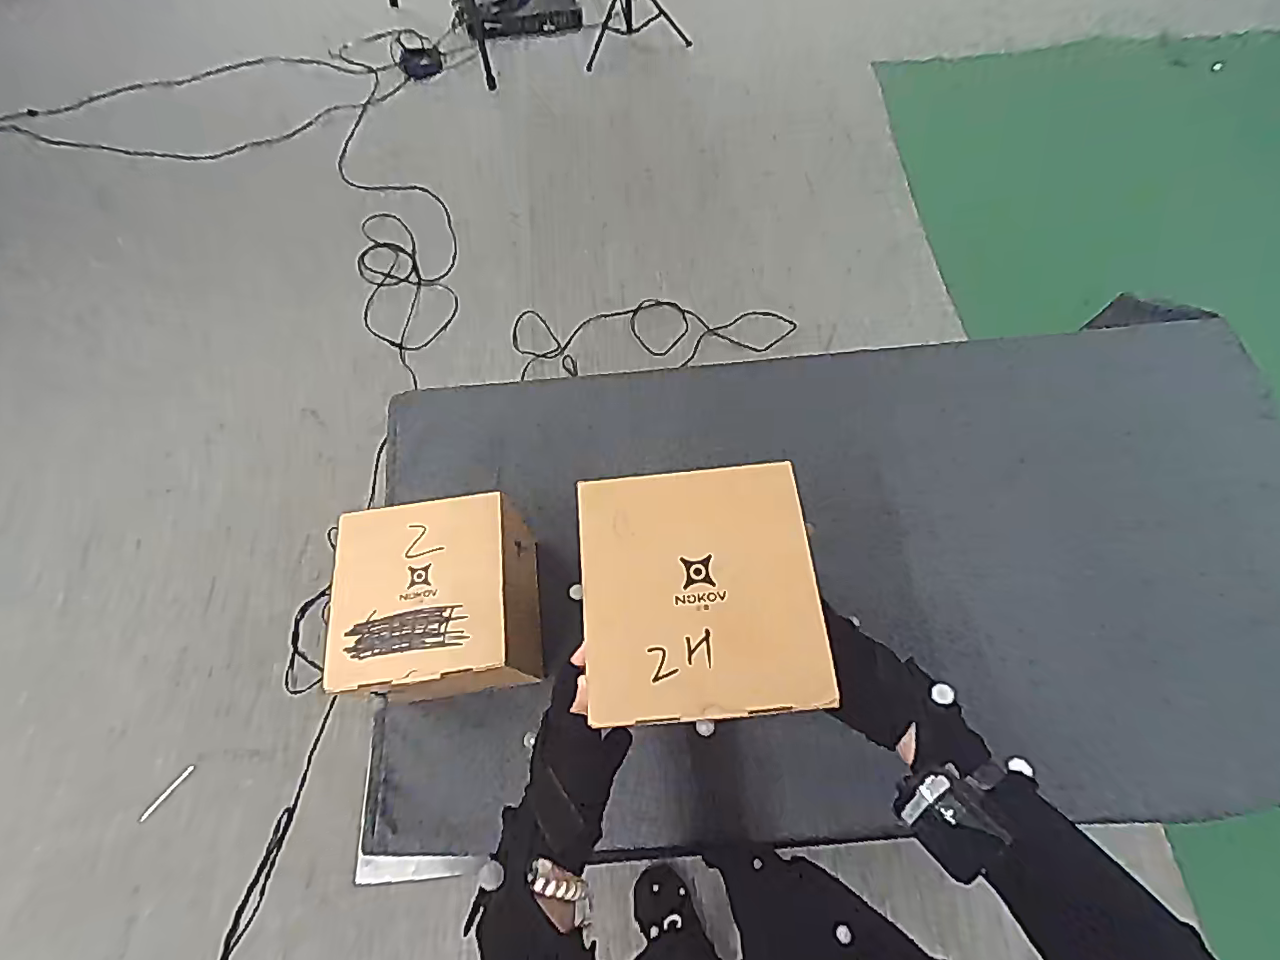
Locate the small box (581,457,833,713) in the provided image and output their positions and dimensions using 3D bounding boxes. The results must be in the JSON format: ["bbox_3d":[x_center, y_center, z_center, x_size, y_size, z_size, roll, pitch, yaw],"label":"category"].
[{"bbox_3d":[0.043,0.098,0.458,0.168,0.176,0.179,-5,68,2],"label":"small box"}]
